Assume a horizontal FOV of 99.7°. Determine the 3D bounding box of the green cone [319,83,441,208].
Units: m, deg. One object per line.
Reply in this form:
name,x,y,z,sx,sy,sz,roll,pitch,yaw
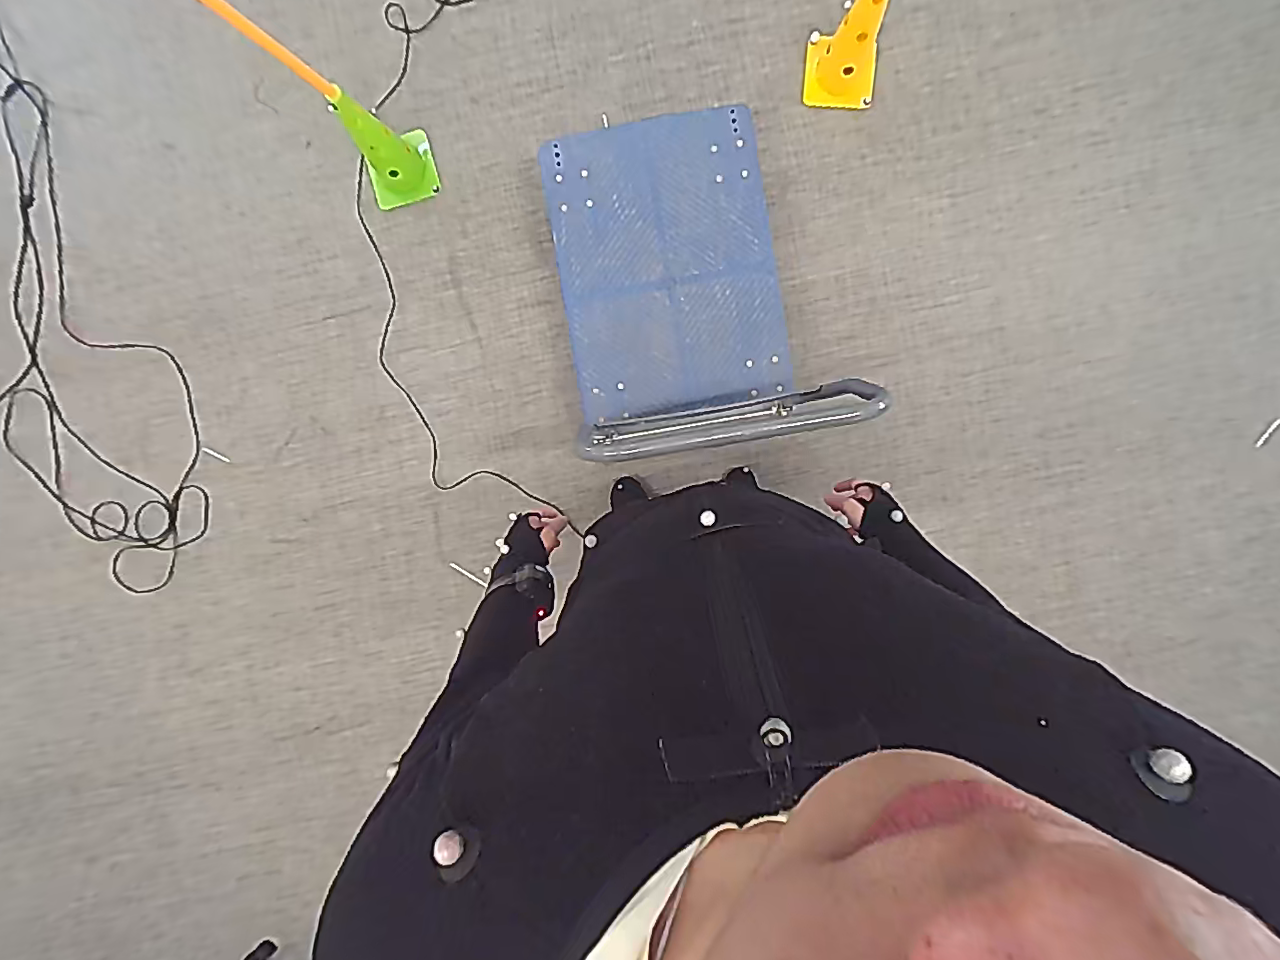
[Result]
green cone,-0.729,-0.940,1.464,0.202,0.368,0.200,-16,91,5
